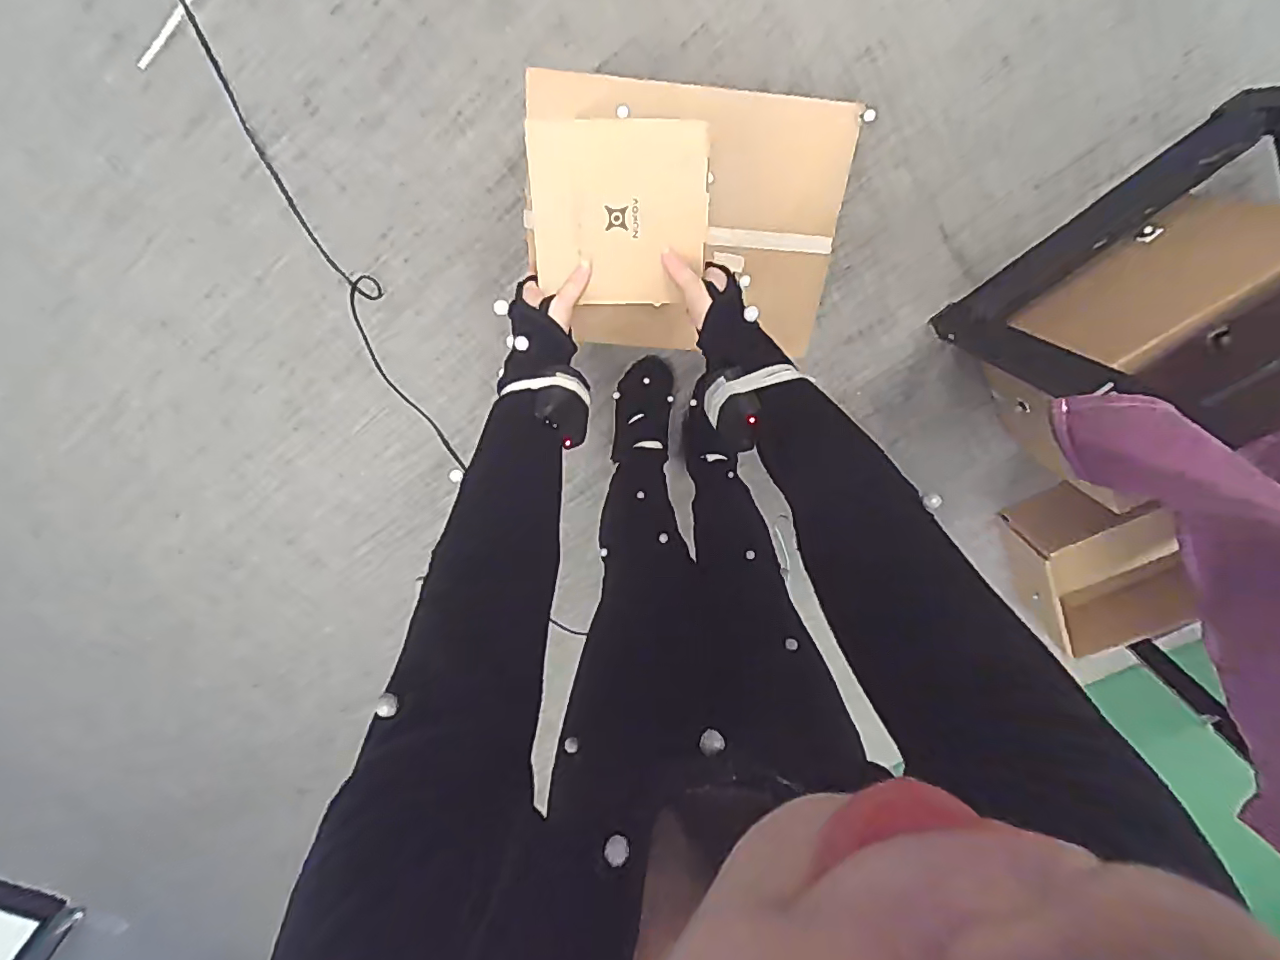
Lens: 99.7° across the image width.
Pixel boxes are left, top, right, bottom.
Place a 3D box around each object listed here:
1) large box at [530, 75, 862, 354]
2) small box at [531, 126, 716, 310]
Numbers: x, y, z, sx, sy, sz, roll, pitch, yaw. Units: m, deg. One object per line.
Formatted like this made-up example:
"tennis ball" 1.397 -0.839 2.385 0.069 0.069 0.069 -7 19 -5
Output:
"large box" 0.053 -0.398 0.837 0.408 0.320 0.320 3 121 -4
"small box" -0.020 -0.290 0.606 0.179 0.176 0.168 -1 117 -2
